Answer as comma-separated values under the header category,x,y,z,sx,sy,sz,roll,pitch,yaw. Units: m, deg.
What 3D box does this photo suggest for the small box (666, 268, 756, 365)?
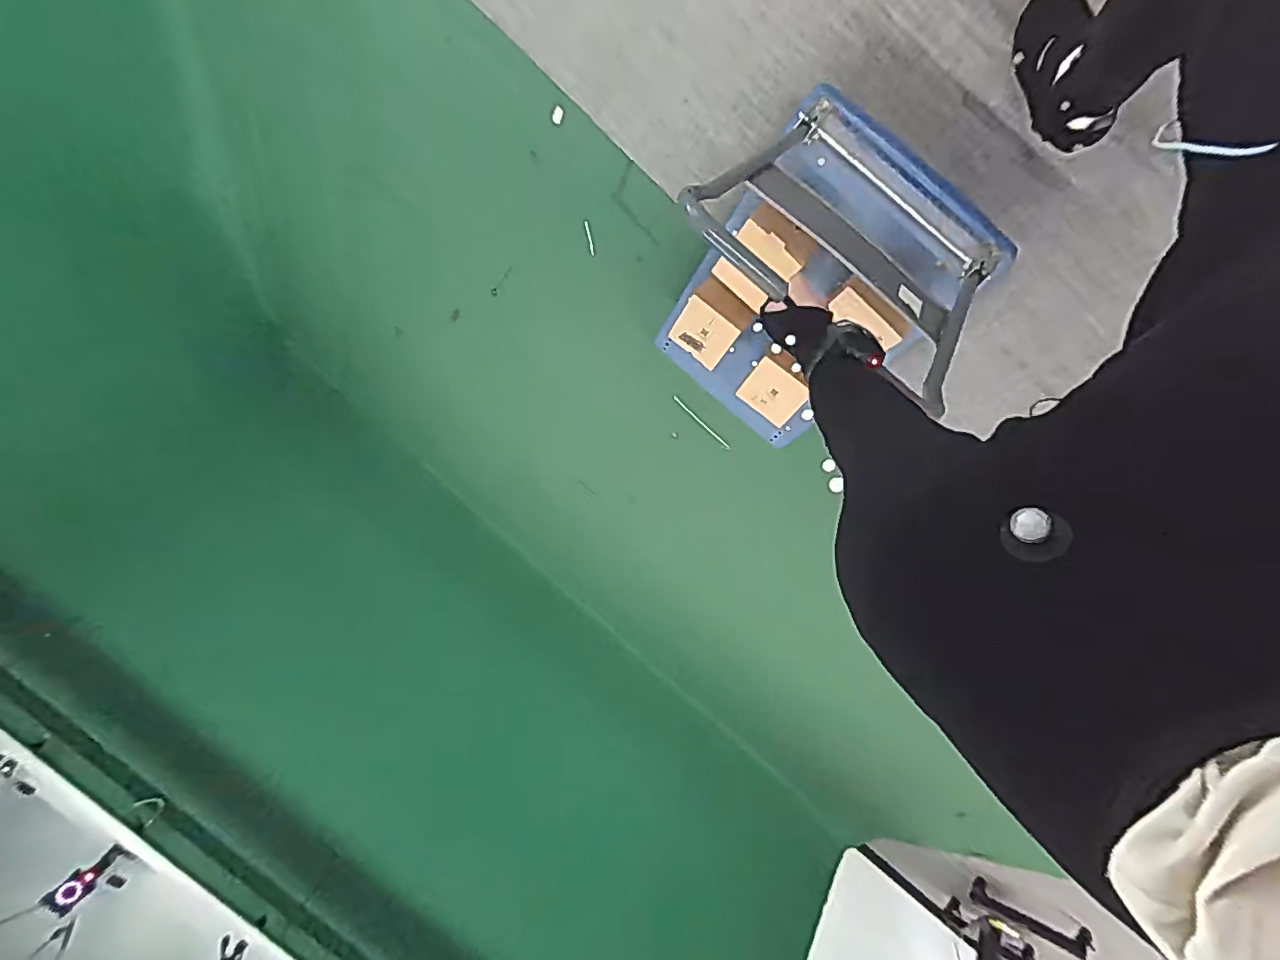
category,x,y,z,sx,sy,sz,roll,pitch,yaw
small box,0.208,-0.469,1.532,0.168,0.176,0.179,39,145,-1

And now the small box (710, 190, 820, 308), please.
category,x,y,z,sx,sy,sz,roll,pitch,yaw
small box,0.309,-0.568,1.329,0.168,0.176,0.179,41,145,-3

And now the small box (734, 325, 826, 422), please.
category,x,y,z,sx,sy,sz,roll,pitch,yaw
small box,0.404,-0.306,1.538,0.168,0.176,0.179,39,146,2
